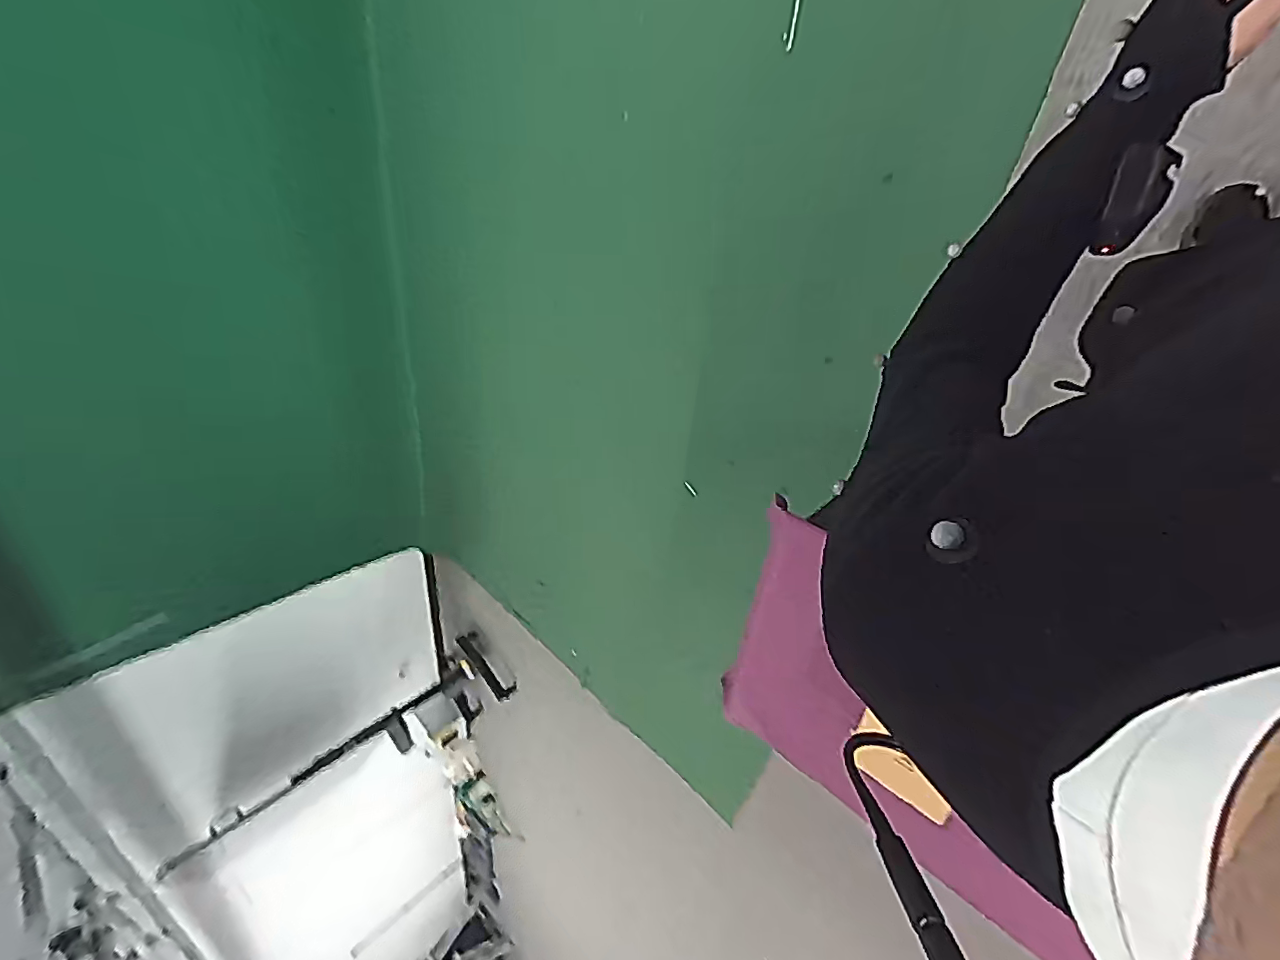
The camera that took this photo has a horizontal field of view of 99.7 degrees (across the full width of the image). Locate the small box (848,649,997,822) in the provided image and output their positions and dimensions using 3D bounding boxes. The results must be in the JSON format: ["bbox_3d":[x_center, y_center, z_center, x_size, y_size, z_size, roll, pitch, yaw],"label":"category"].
[{"bbox_3d":[0.495,0.434,0.944,0.168,0.176,0.179,27,127,34],"label":"small box"}]
